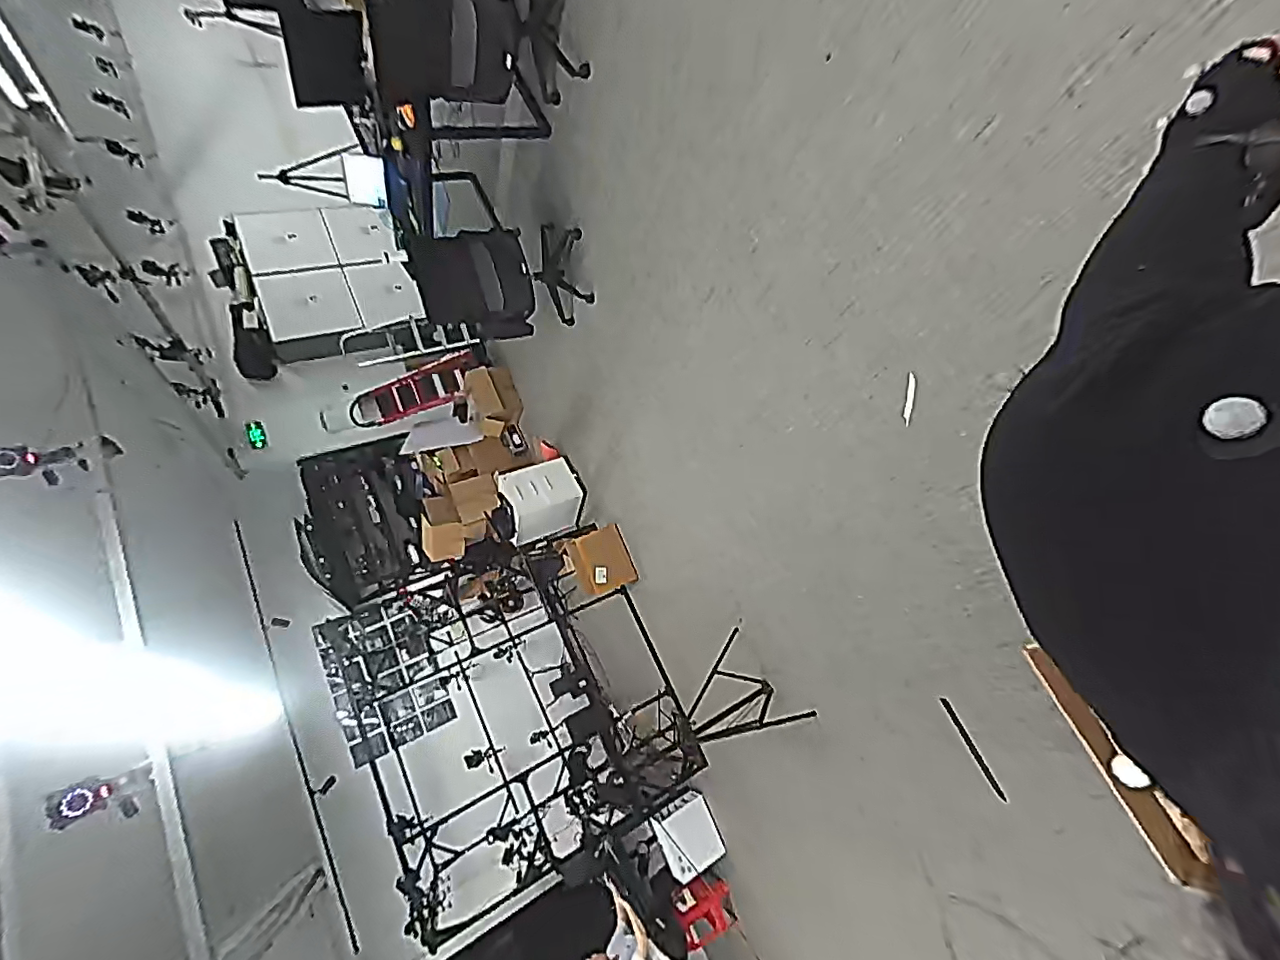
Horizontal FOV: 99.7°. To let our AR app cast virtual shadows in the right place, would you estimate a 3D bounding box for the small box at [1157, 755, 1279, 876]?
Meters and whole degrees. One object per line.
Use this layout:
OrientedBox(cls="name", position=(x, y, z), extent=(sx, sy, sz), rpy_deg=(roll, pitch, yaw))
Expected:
OrientedBox(cls="small box", position=(1.307, 0.718, 1.174), extent=(0.168, 0.176, 0.179), rpy_deg=(64, 153, 17))
